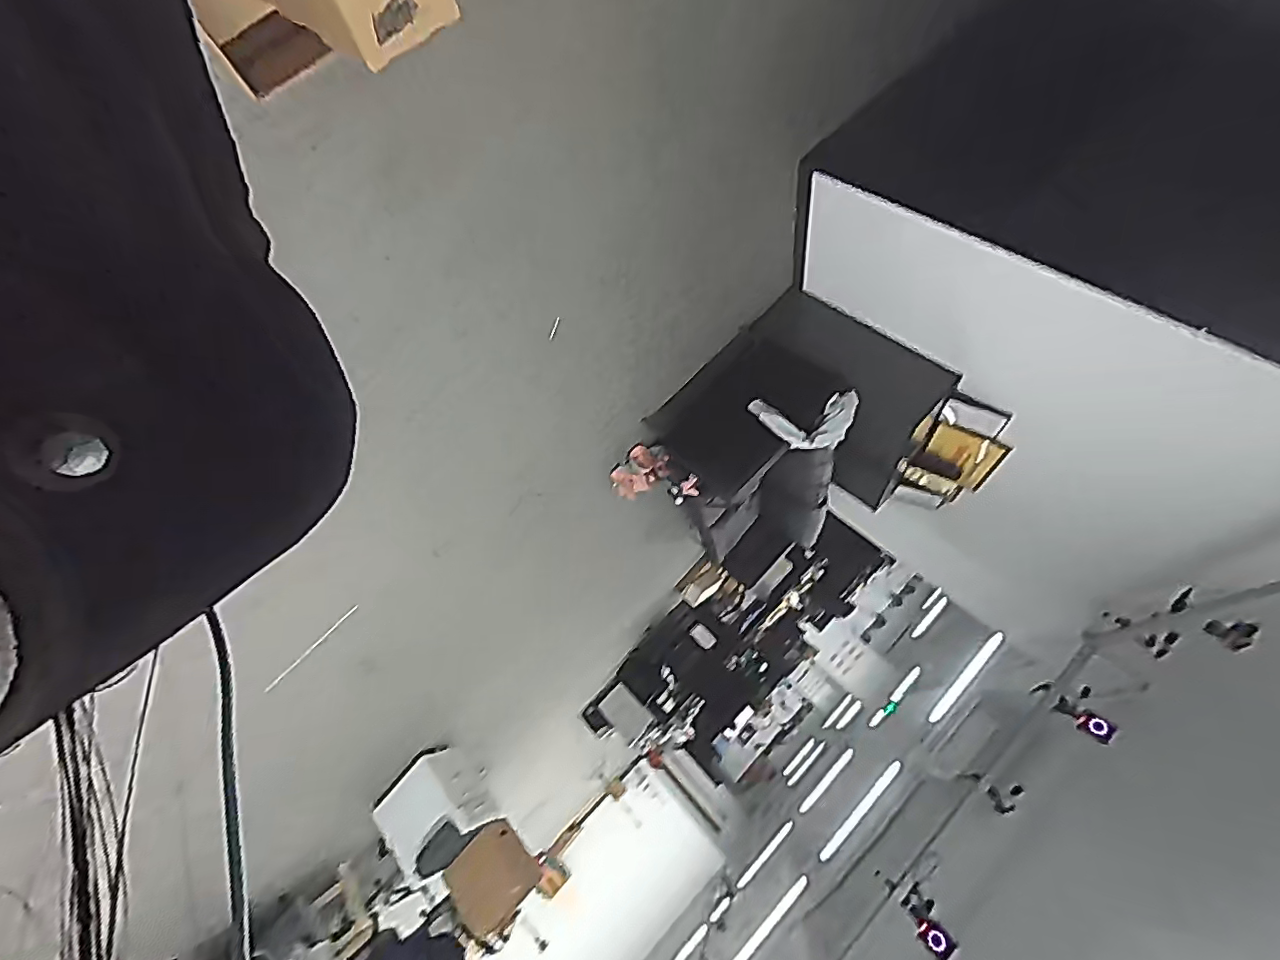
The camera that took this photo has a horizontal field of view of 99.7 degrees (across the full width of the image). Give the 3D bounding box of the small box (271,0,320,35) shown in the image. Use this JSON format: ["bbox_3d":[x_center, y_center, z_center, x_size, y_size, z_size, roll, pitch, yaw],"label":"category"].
[{"bbox_3d":[-0.507,-0.828,0.822,0.179,0.176,0.168,-43,154,-12],"label":"small box"}]

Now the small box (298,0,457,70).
[{"bbox_3d":[-0.398,-0.727,0.758,0.168,0.176,0.179,-41,149,-13],"label":"small box"}]
